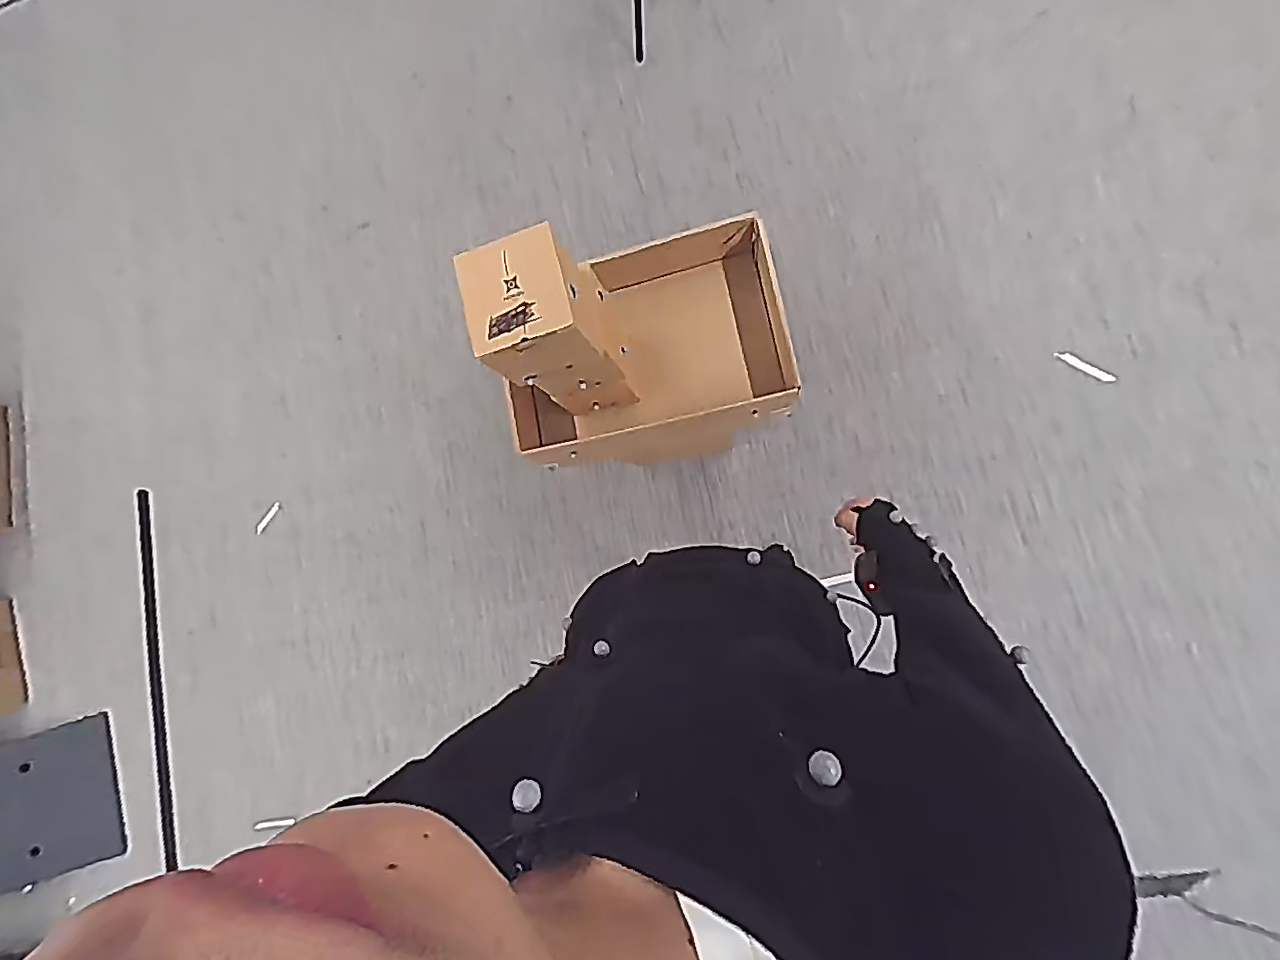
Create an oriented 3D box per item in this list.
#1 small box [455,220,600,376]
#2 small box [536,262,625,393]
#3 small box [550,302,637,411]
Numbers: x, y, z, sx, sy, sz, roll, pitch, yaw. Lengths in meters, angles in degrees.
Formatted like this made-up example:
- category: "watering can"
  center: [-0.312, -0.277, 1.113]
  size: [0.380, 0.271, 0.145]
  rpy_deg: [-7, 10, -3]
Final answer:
- category: "small box"
  center: [-0.177, -0.286, 0.900]
  size: [0.168, 0.176, 0.179]
  rpy_deg: [-16, 82, 9]
- category: "small box"
  center: [-0.138, -0.290, 1.060]
  size: [0.168, 0.176, 0.179]
  rpy_deg: [-13, 83, 9]
- category: "small box"
  center: [-0.112, -0.272, 1.222]
  size: [0.168, 0.176, 0.179]
  rpy_deg: [-13, 83, 9]
